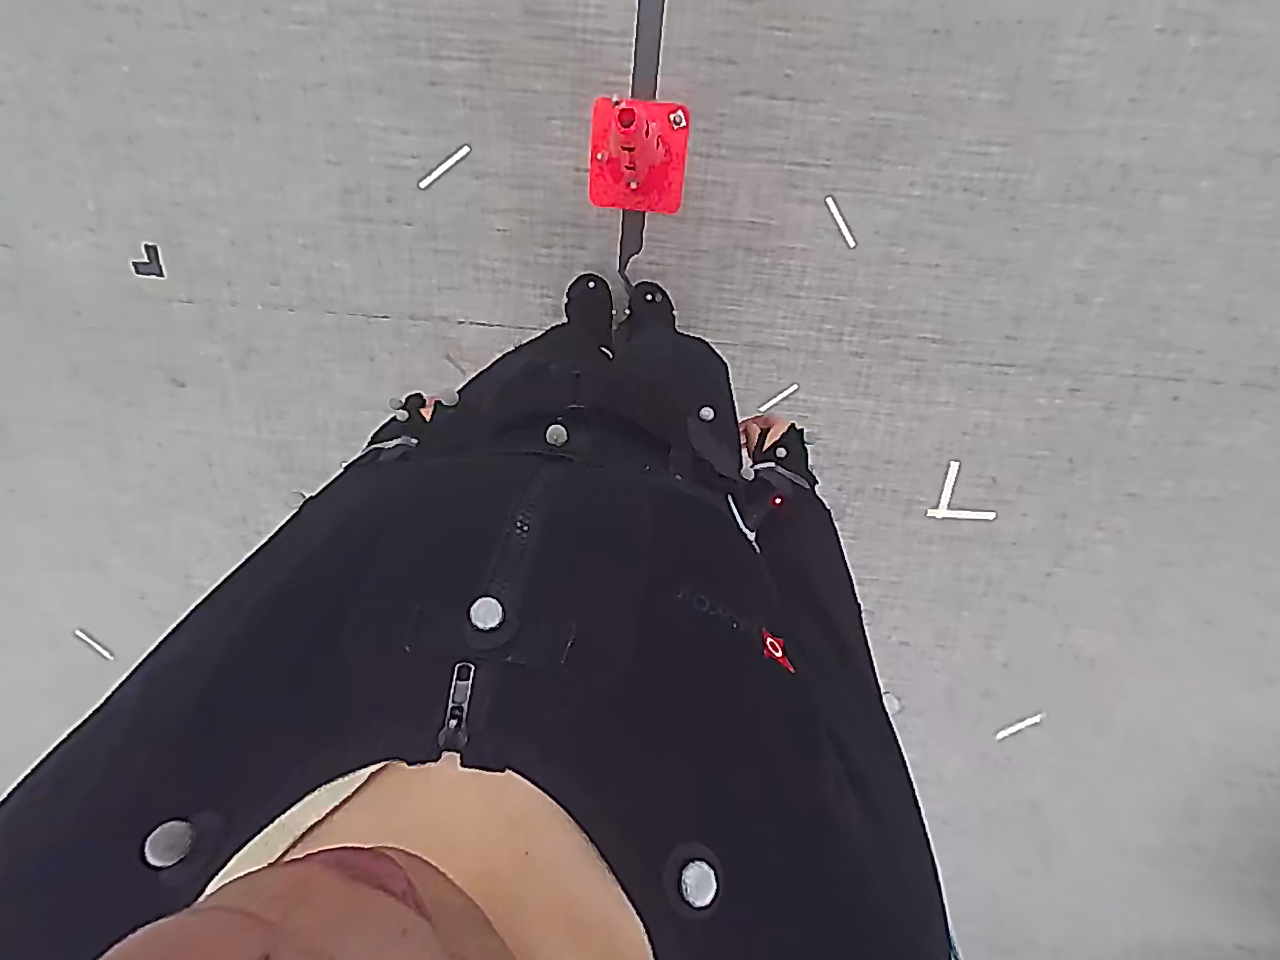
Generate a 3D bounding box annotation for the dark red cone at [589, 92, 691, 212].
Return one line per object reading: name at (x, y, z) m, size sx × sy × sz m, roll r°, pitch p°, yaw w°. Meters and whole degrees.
dark red cone at (-0.013, -0.597, 0.947) m, size 0.201 × 0.394 × 0.202 m, roll 5°, pitch 113°, yaw 2°
